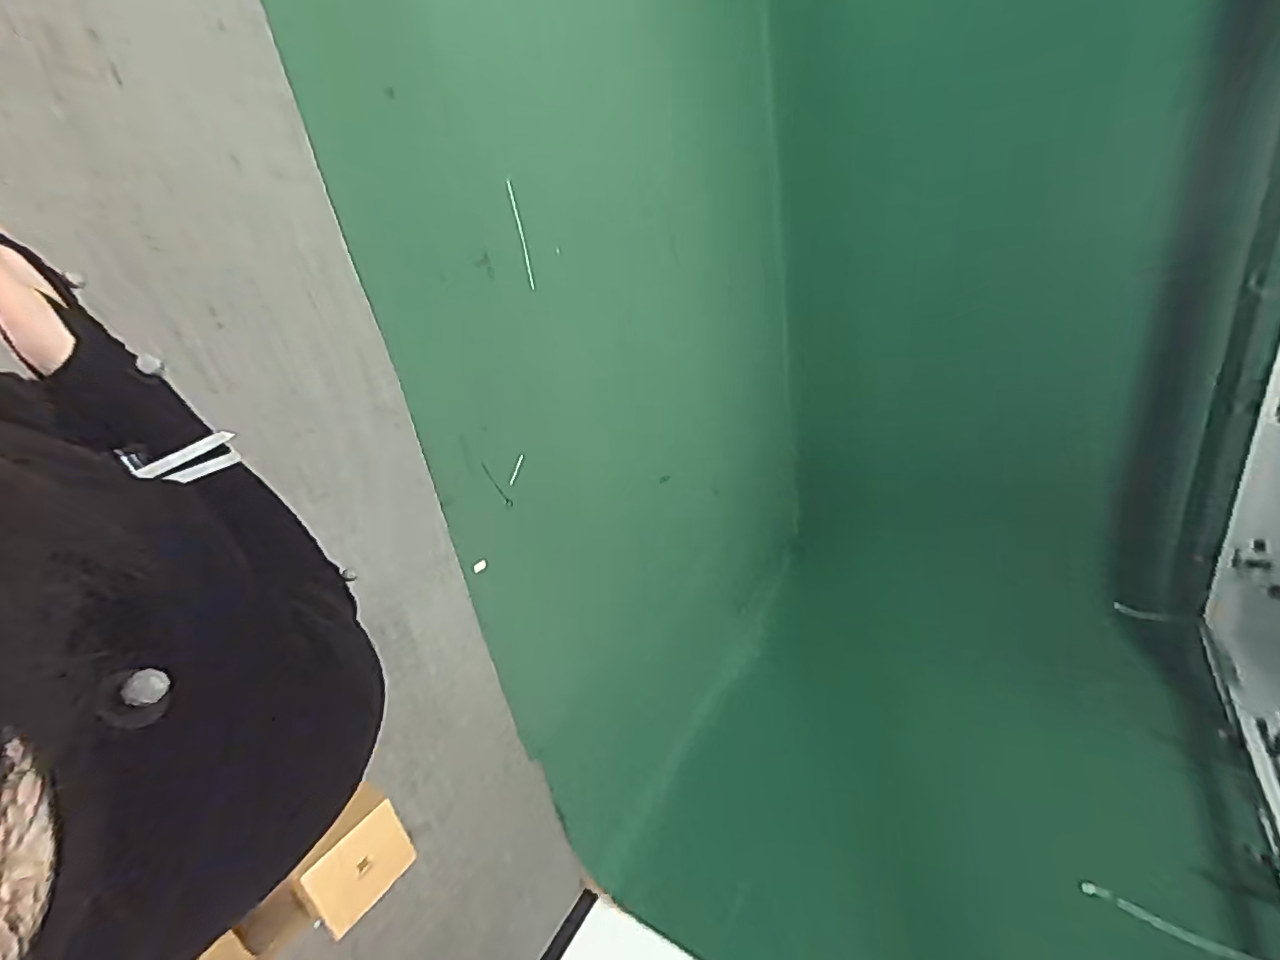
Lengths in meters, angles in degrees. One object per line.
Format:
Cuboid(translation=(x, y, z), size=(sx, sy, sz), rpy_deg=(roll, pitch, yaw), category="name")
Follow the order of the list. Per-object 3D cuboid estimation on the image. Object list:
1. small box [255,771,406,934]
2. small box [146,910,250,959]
Cuboid(translation=(-0.592, 0.695, 1.036), size=(0.168, 0.176, 0.179), rpy_deg=(-36, 124, -47), category="small box")
Cuboid(translation=(-0.725, 0.858, 0.867), size=(0.179, 0.176, 0.168), rpy_deg=(-40, 129, -48), category="small box")
